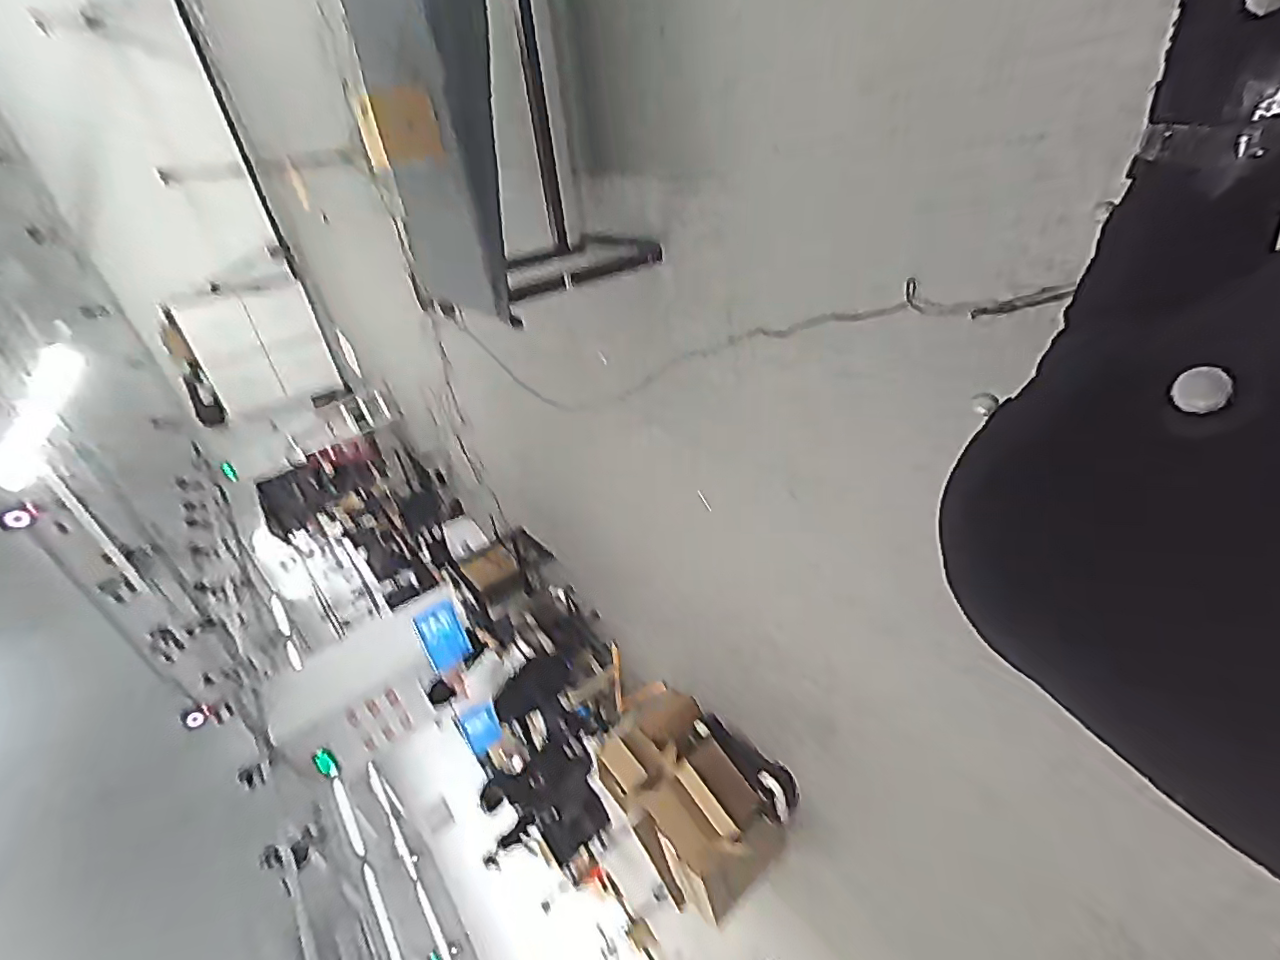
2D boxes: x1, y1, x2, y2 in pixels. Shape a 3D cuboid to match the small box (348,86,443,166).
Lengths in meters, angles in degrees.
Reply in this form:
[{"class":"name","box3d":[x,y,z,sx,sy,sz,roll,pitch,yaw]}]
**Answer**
[{"class":"small box","box3d":[-0.685,-0.997,1.524,0.168,0.176,0.179,30,139,44]}]
